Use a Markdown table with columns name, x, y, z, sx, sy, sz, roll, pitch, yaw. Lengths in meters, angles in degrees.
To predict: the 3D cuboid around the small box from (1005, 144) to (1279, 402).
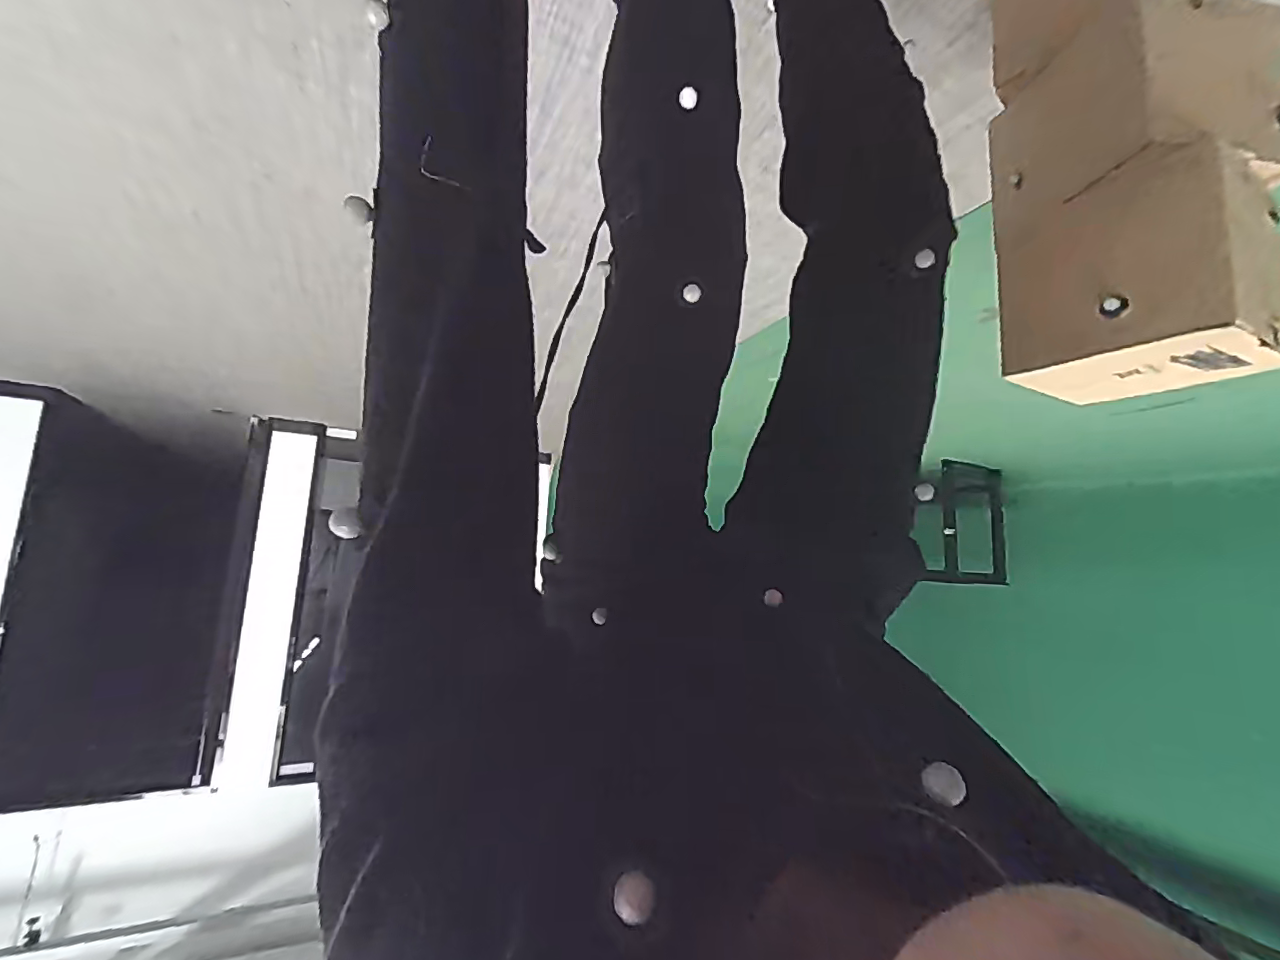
| name | x | y | z | sx | sy | sz | roll | pitch | yaw |
| --- | --- | --- | --- | --- | --- | --- | --- | --- | --- |
| small box | 0.500 | -0.190 | 0.544 | 0.168 | 0.176 | 0.179 | 7 | 172 | -28 |
